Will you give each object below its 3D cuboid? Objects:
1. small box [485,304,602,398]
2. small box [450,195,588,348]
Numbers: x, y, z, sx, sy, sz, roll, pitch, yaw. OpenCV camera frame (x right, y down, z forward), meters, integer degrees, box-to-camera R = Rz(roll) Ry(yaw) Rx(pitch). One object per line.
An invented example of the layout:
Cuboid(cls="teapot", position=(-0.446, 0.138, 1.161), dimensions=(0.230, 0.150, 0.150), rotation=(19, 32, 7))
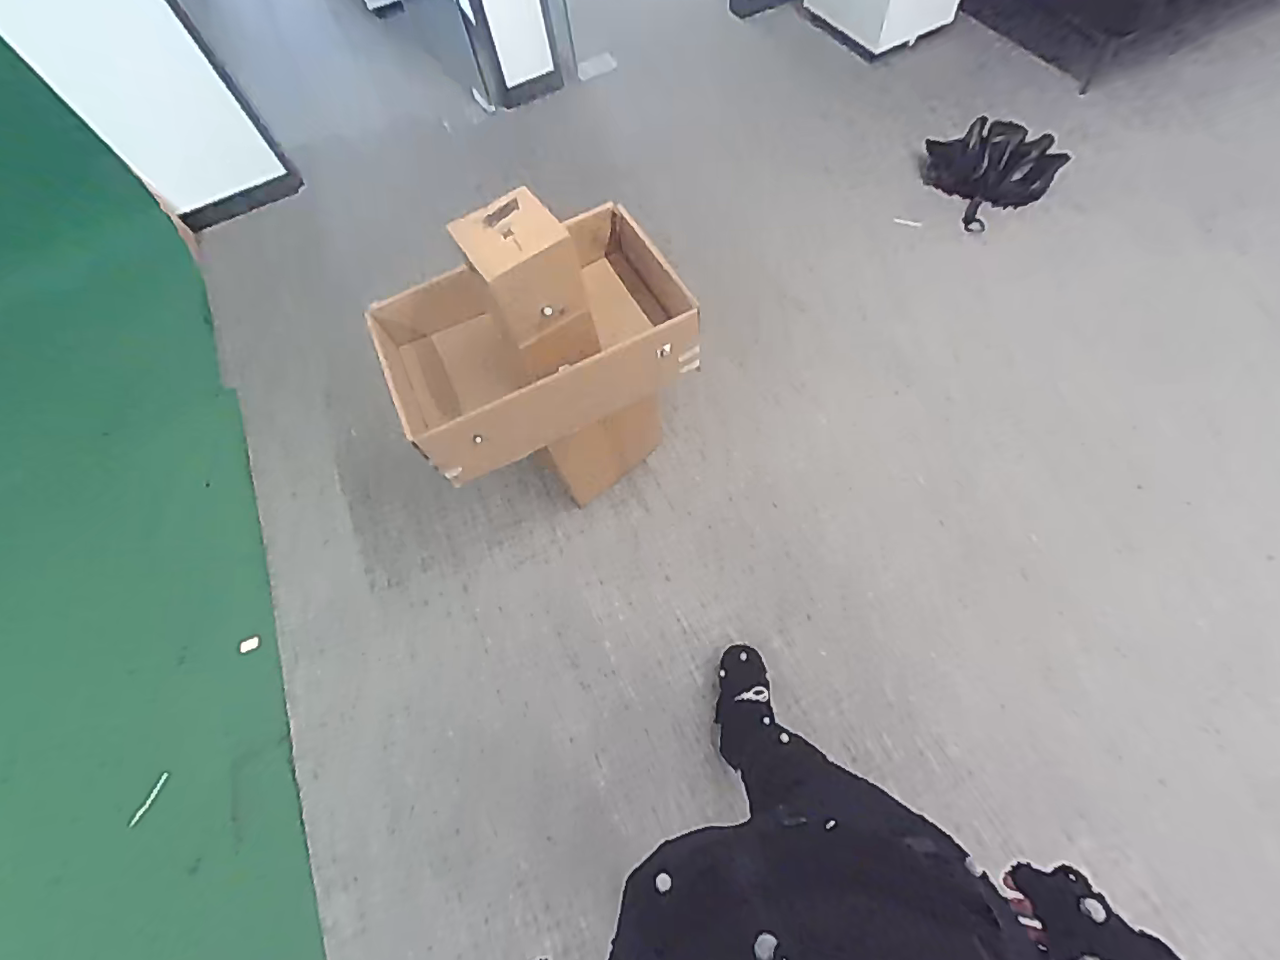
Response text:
Cuboid(cls="small box", position=(-0.202, -0.311, 1.163), dimensions=(0.168, 0.176, 0.179), rotation=(-33, 65, -9))
Cuboid(cls="small box", position=(-0.221, -0.386, 1.018), dimensions=(0.168, 0.176, 0.179), rotation=(-33, 64, -8))
